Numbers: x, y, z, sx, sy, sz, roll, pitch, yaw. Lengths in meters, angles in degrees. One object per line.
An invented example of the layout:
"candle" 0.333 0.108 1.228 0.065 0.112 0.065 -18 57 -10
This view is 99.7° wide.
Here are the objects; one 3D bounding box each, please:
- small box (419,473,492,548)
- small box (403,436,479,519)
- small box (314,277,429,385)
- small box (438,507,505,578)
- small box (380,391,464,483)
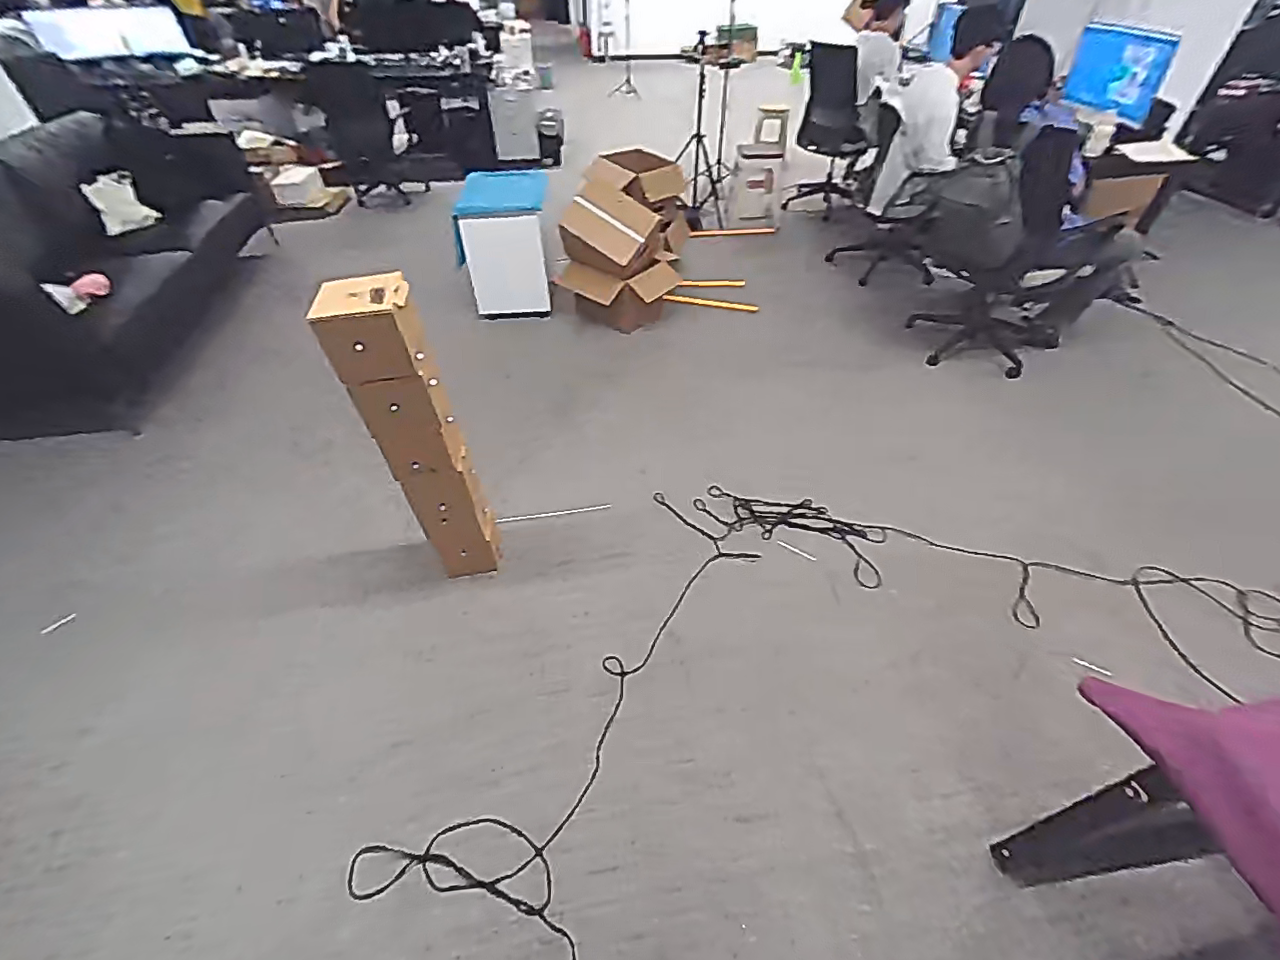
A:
"small box" -0.580 0.100 1.721 0.179 0.176 0.168 -7 46 -5
"small box" -0.578 -0.006 1.596 0.179 0.176 0.168 -8 45 -7
"small box" -0.598 -0.338 1.235 0.179 0.176 0.168 -9 47 -4
"small box" -0.567 0.215 1.837 0.179 0.176 0.168 -7 45 -6
"small box" -0.587 -0.118 1.478 0.168 0.176 0.179 -9 47 -7
